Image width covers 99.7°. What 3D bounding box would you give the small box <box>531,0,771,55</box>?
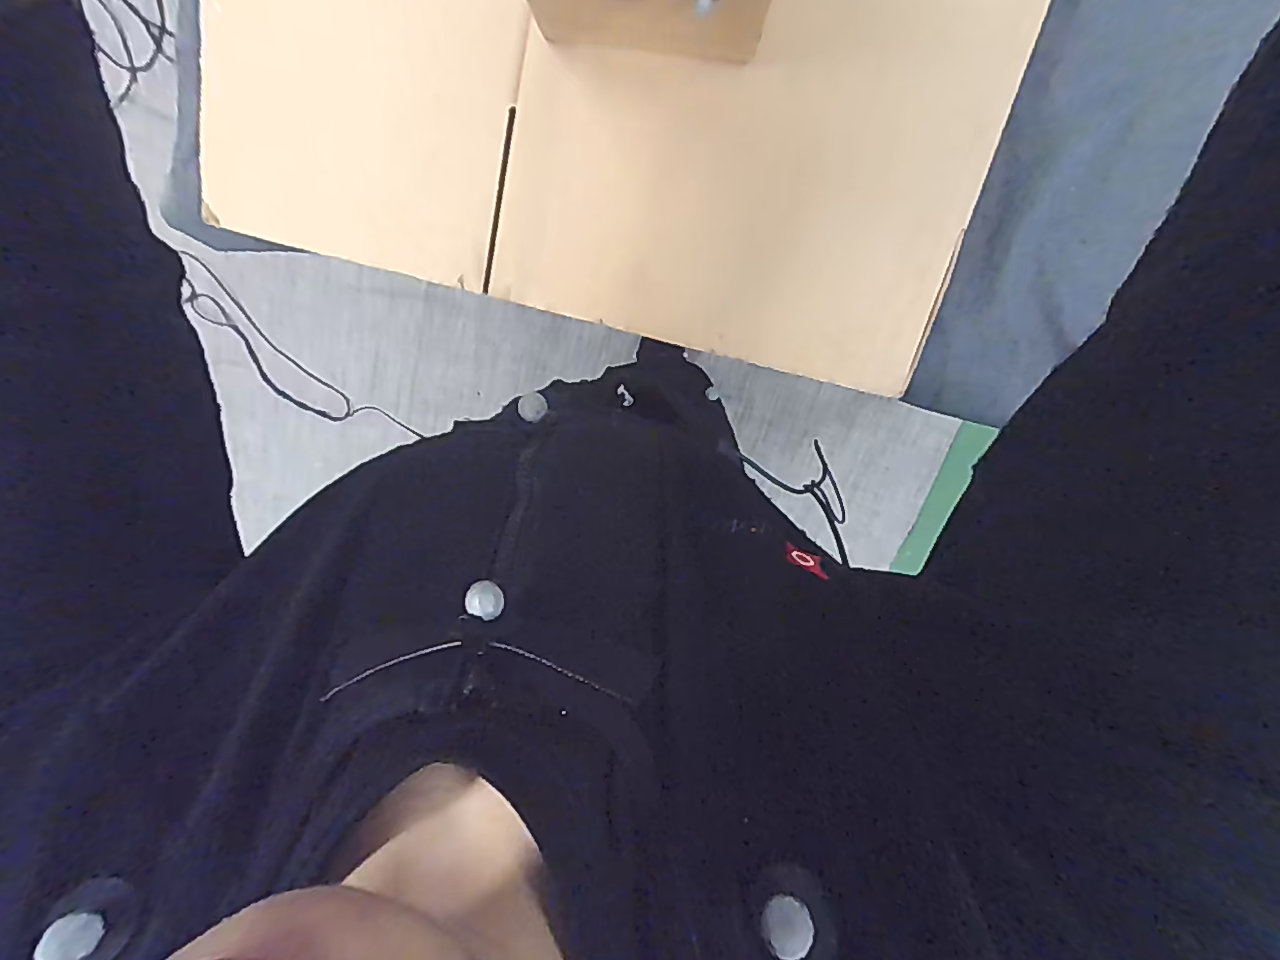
[{"bbox_3d":[0.013,-0.399,0.332,0.179,0.176,0.168,8,105,3],"label":"small box"}]
